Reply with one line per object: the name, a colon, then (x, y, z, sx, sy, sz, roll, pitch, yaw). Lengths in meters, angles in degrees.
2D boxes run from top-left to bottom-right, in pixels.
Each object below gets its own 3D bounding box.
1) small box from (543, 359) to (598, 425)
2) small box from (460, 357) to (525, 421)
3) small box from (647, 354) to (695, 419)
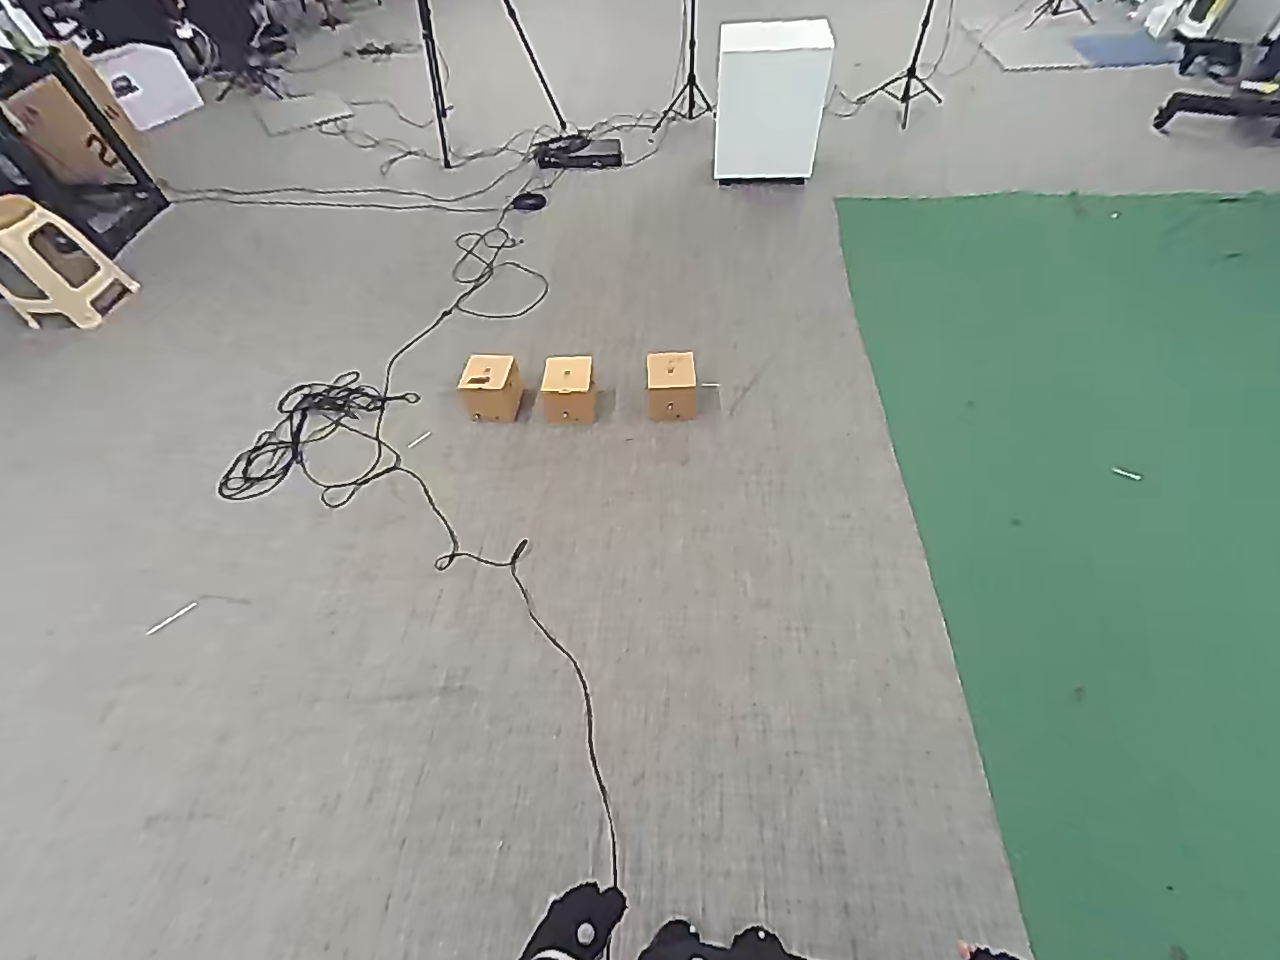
small box: (-0.248, -0.321, 1.967, 0.168, 0.176, 0.179, -1, 55, 3)
small box: (-0.537, -0.333, 1.994, 0.168, 0.176, 0.179, 3, 53, 6)
small box: (0.111, -0.331, 1.948, 0.168, 0.176, 0.179, -2, 54, 2)
